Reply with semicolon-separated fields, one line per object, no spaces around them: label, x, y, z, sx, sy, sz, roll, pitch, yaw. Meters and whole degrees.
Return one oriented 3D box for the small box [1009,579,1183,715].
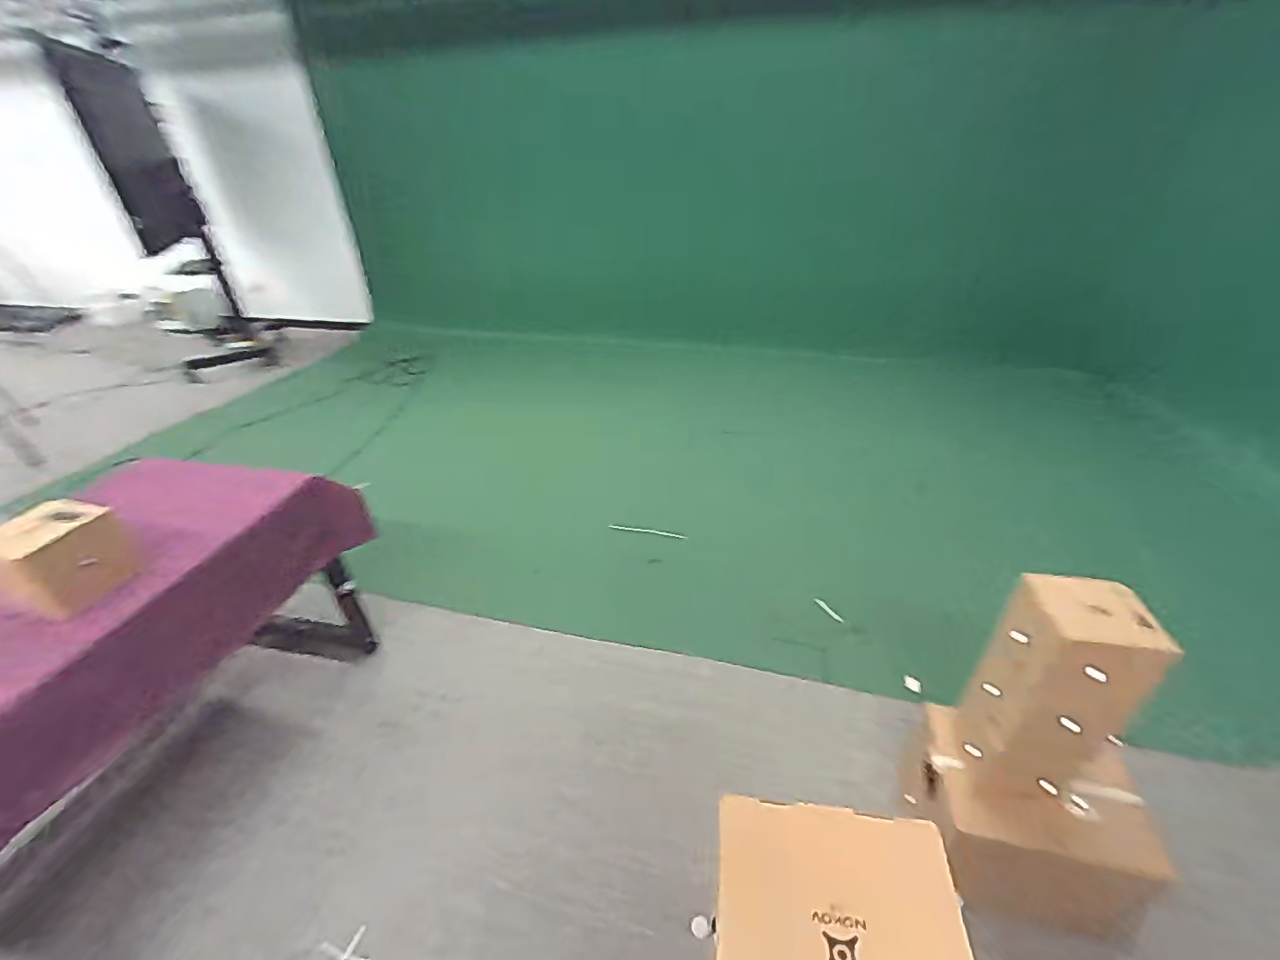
small box;0.819;0.308;1.002;0.179;0.176;0.168;5;33;10

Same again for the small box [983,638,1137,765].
small box;0.824;0.446;1.091;0.179;0.176;0.168;5;34;8

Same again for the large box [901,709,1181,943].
large box;0.891;0.806;1.282;0.408;0.320;0.320;7;34;12

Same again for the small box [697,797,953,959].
small box;0.126;0.375;0.404;0.168;0.176;0.179;2;34;8

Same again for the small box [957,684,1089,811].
small box;0.821;0.584;1.181;0.168;0.176;0.179;7;32;11
